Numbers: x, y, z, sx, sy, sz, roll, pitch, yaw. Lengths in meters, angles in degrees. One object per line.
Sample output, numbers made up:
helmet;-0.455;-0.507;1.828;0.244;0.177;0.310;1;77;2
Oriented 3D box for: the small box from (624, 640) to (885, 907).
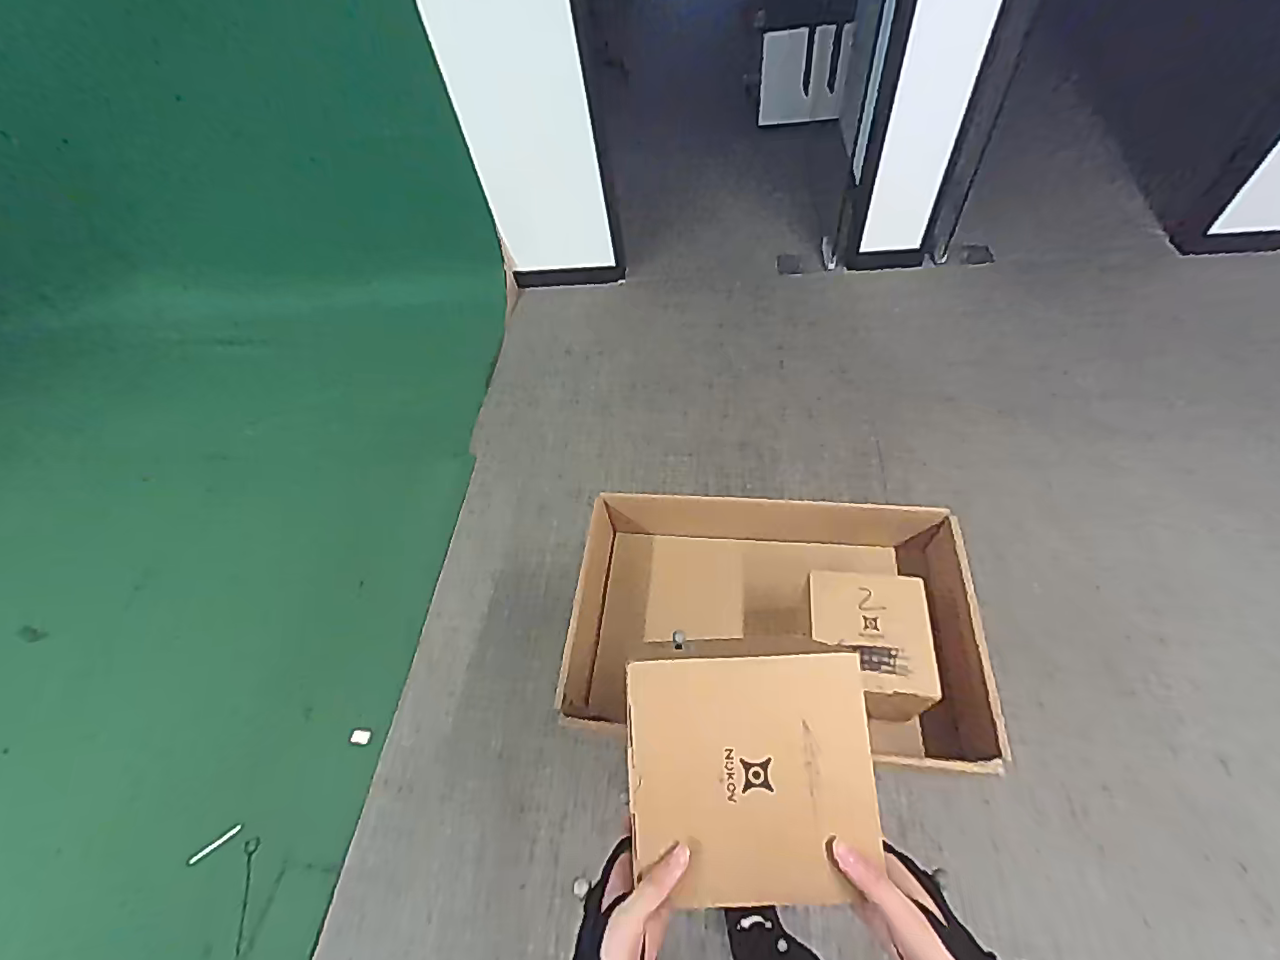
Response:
small box;0.082;0.230;0.465;0.179;0.176;0.168;-3;77;2
